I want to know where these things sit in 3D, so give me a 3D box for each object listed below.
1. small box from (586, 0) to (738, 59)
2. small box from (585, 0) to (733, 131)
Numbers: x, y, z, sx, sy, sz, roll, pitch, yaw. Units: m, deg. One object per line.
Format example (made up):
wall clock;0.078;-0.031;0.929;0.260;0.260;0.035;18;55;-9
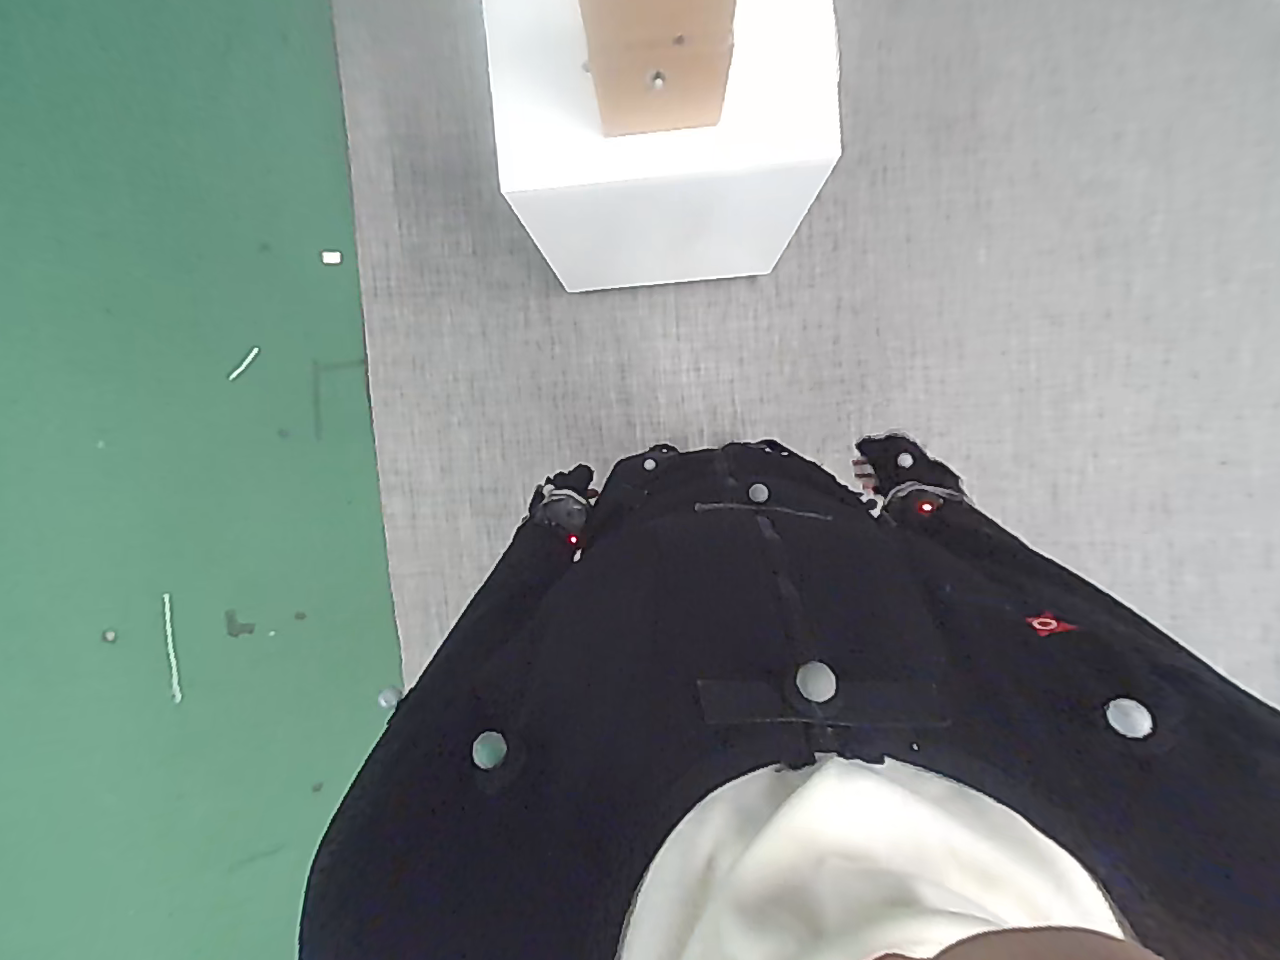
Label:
small box;0.017;-0.588;0.557;0.168;0.176;0.179;-6;95;2
small box;0.023;-0.596;0.718;0.179;0.176;0.168;-4;94;2
